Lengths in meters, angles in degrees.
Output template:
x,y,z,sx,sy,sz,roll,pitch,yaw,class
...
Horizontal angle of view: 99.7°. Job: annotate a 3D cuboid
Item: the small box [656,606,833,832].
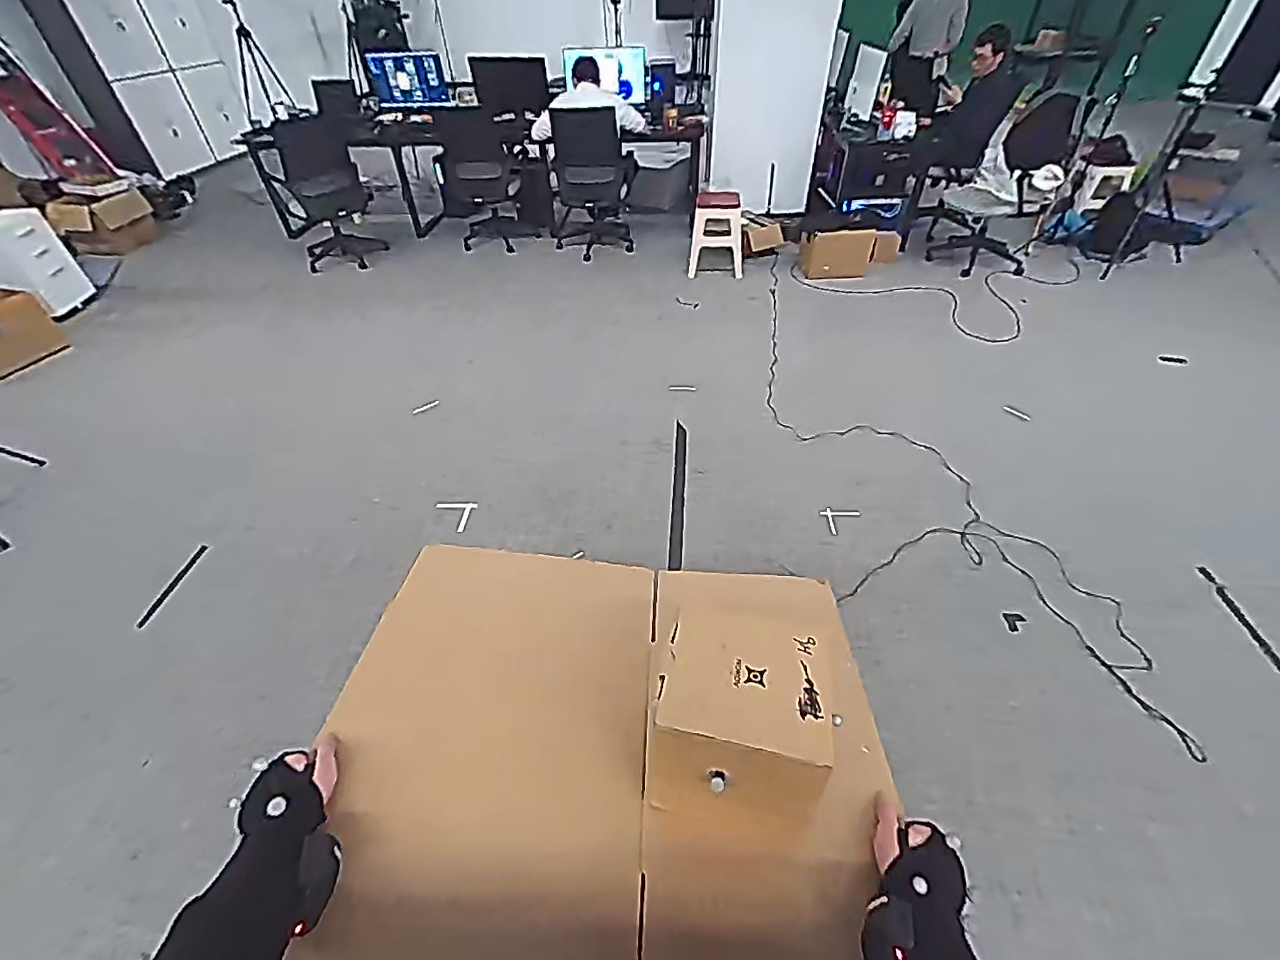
x,y,z,sx,sy,sz,roll,pitch,yaw,class
0.120,0.278,0.636,0.179,0.176,0.168,7,36,11,small box
